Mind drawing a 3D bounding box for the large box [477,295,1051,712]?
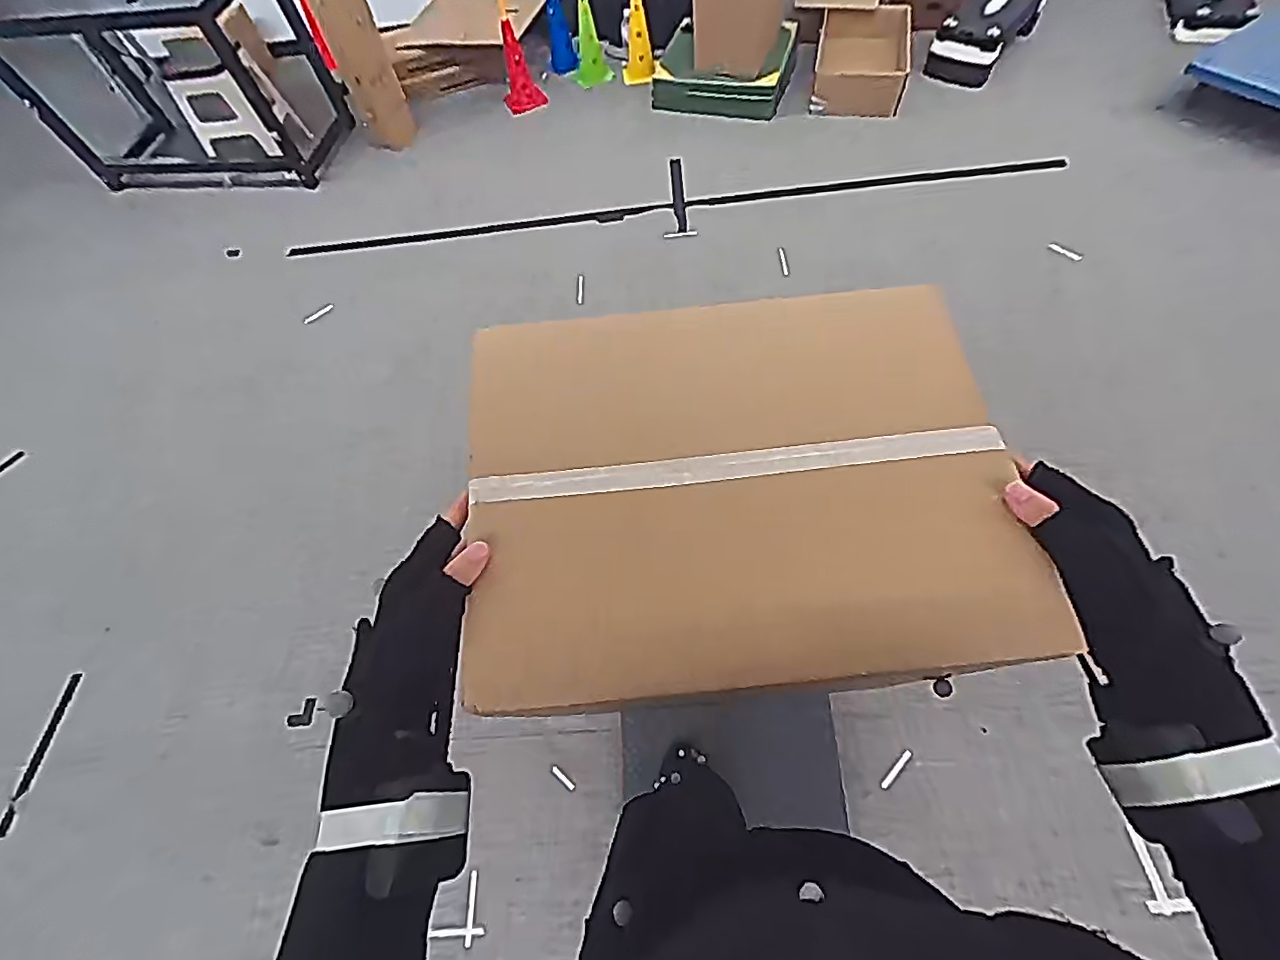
[{"bbox_3d":[0.079,0.053,0.561,0.408,0.320,0.320,-6,66,0],"label":"large box"}]
